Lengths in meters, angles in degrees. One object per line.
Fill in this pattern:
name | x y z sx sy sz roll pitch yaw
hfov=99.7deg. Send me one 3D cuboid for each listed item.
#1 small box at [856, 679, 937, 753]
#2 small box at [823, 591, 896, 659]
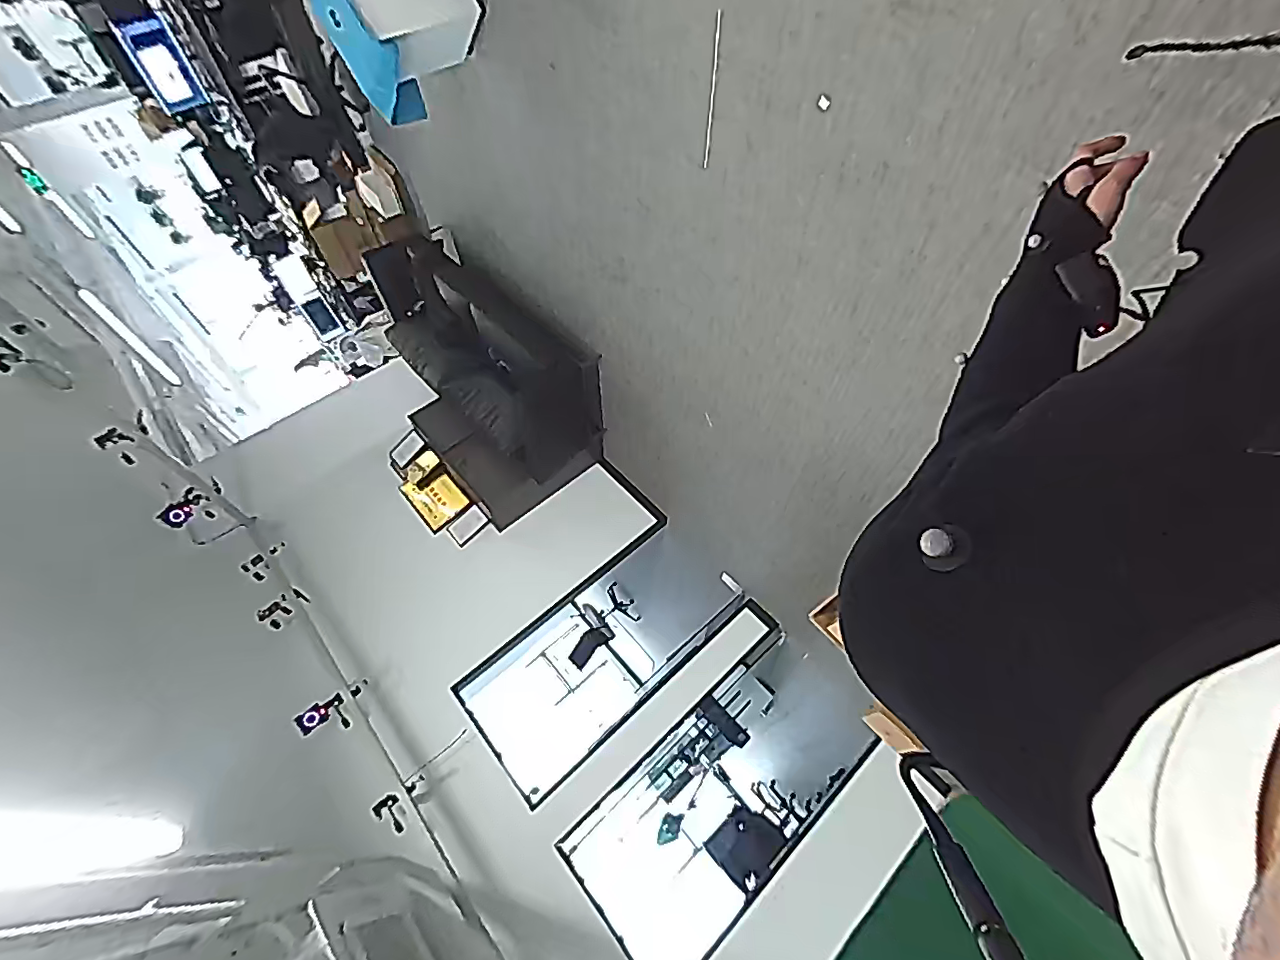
small box | 0.920 0.846 1.937 0.168 0.176 0.179 44 156 21
small box | 0.852 0.562 2.098 0.168 0.176 0.179 46 156 18
